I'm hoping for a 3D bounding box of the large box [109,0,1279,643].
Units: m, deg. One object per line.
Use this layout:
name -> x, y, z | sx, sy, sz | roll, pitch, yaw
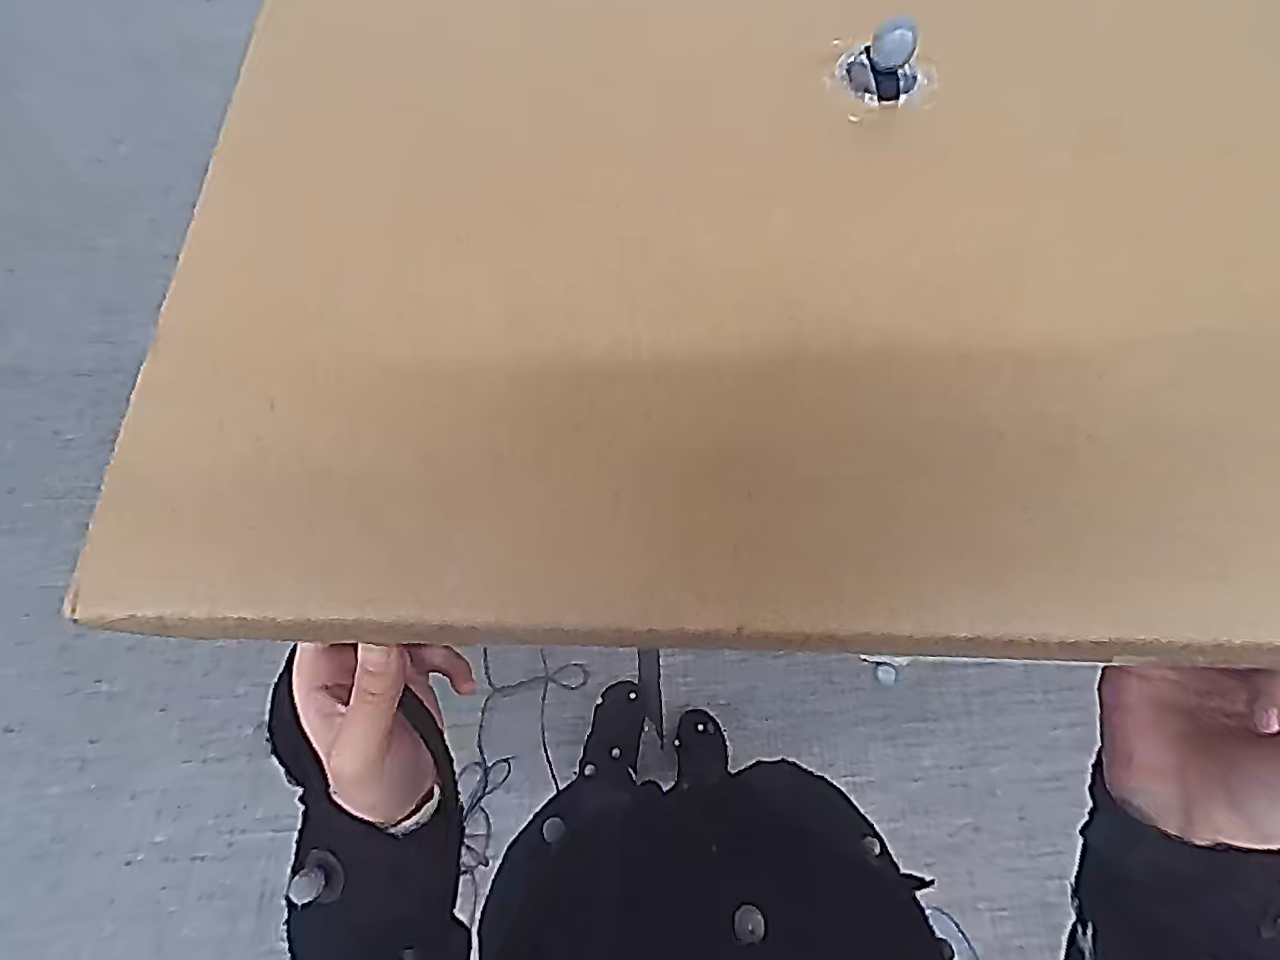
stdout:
large box -> 0.071, -0.076, 0.307 | 0.408, 0.320, 0.320 | 0, 74, 1
